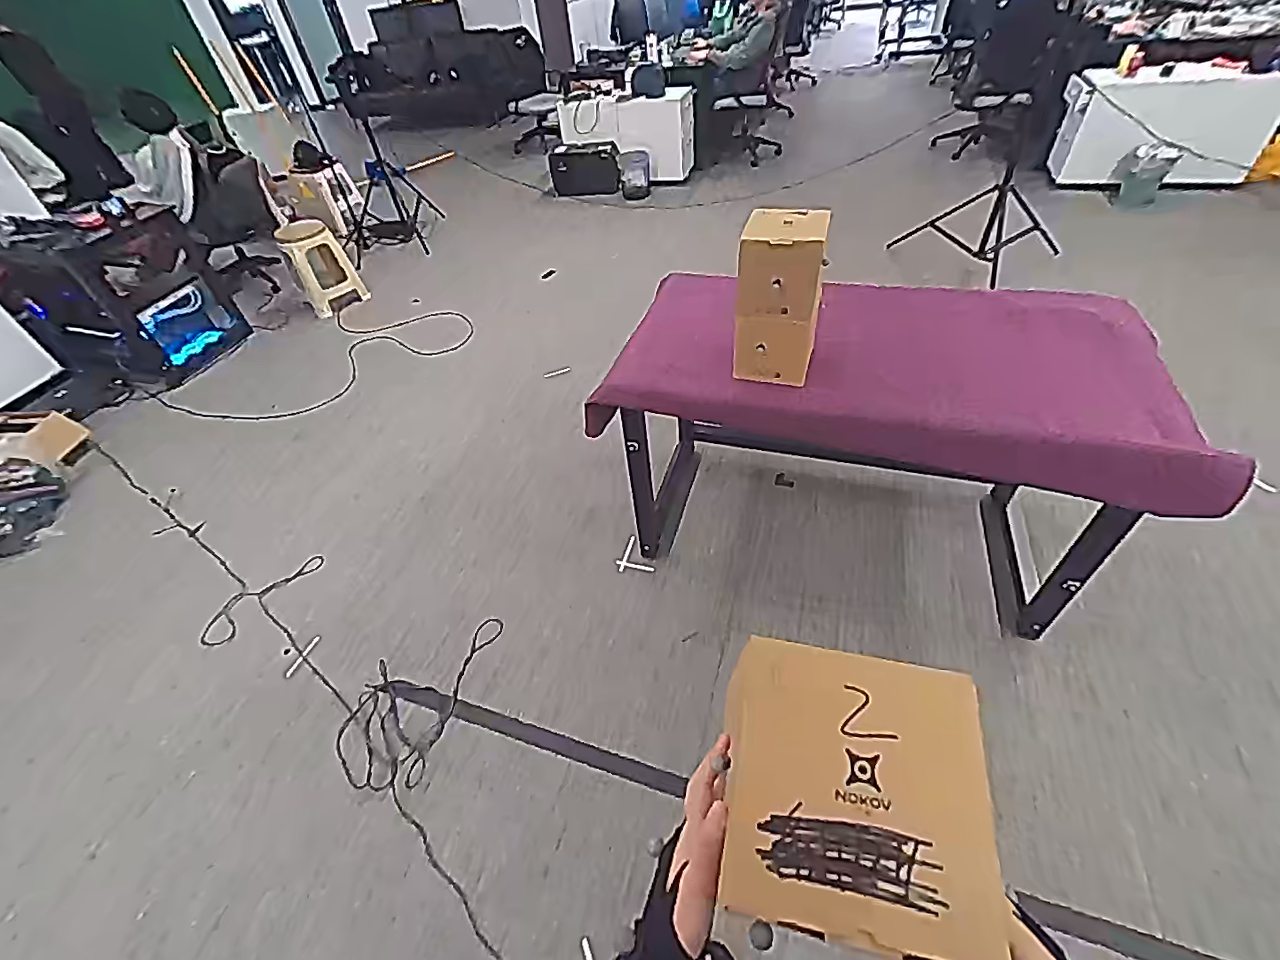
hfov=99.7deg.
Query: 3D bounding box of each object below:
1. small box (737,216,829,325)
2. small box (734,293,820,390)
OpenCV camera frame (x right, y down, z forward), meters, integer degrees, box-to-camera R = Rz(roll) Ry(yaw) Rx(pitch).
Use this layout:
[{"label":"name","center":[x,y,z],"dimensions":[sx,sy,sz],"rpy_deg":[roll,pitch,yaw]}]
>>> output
[{"label":"small box","center":[0.307,-0.454,1.172],"dimensions":[0.168,0.176,0.179],"rpy_deg":[10,47,16]},{"label":"small box","center":[0.322,-0.334,1.283],"dimensions":[0.168,0.176,0.179],"rpy_deg":[11,47,17]}]
